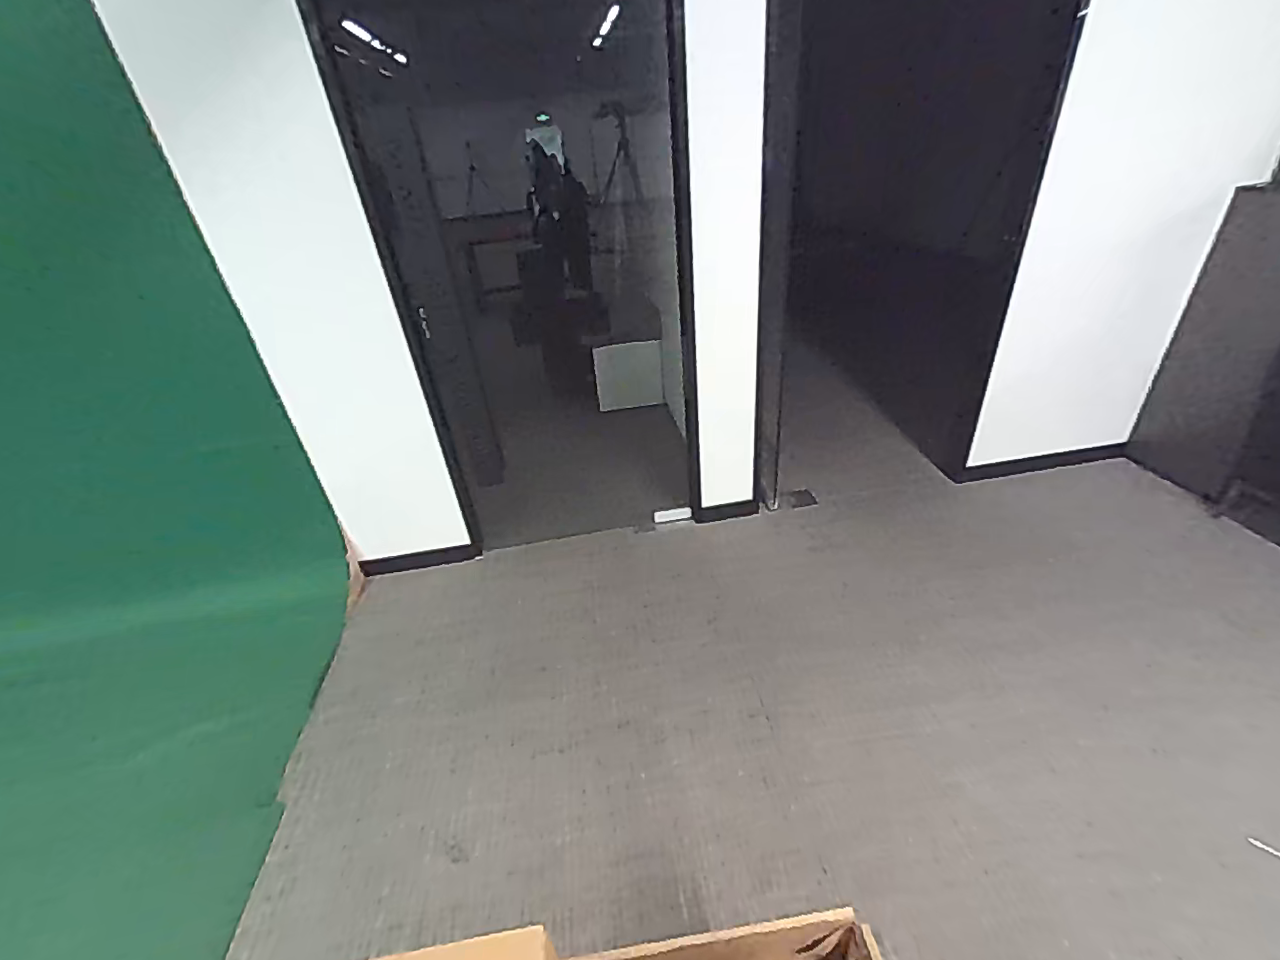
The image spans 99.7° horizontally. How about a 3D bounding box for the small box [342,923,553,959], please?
[{"bbox_3d":[-0.139,0.469,0.387,0.168,0.176,0.179,-9,32,-4],"label":"small box"}]
